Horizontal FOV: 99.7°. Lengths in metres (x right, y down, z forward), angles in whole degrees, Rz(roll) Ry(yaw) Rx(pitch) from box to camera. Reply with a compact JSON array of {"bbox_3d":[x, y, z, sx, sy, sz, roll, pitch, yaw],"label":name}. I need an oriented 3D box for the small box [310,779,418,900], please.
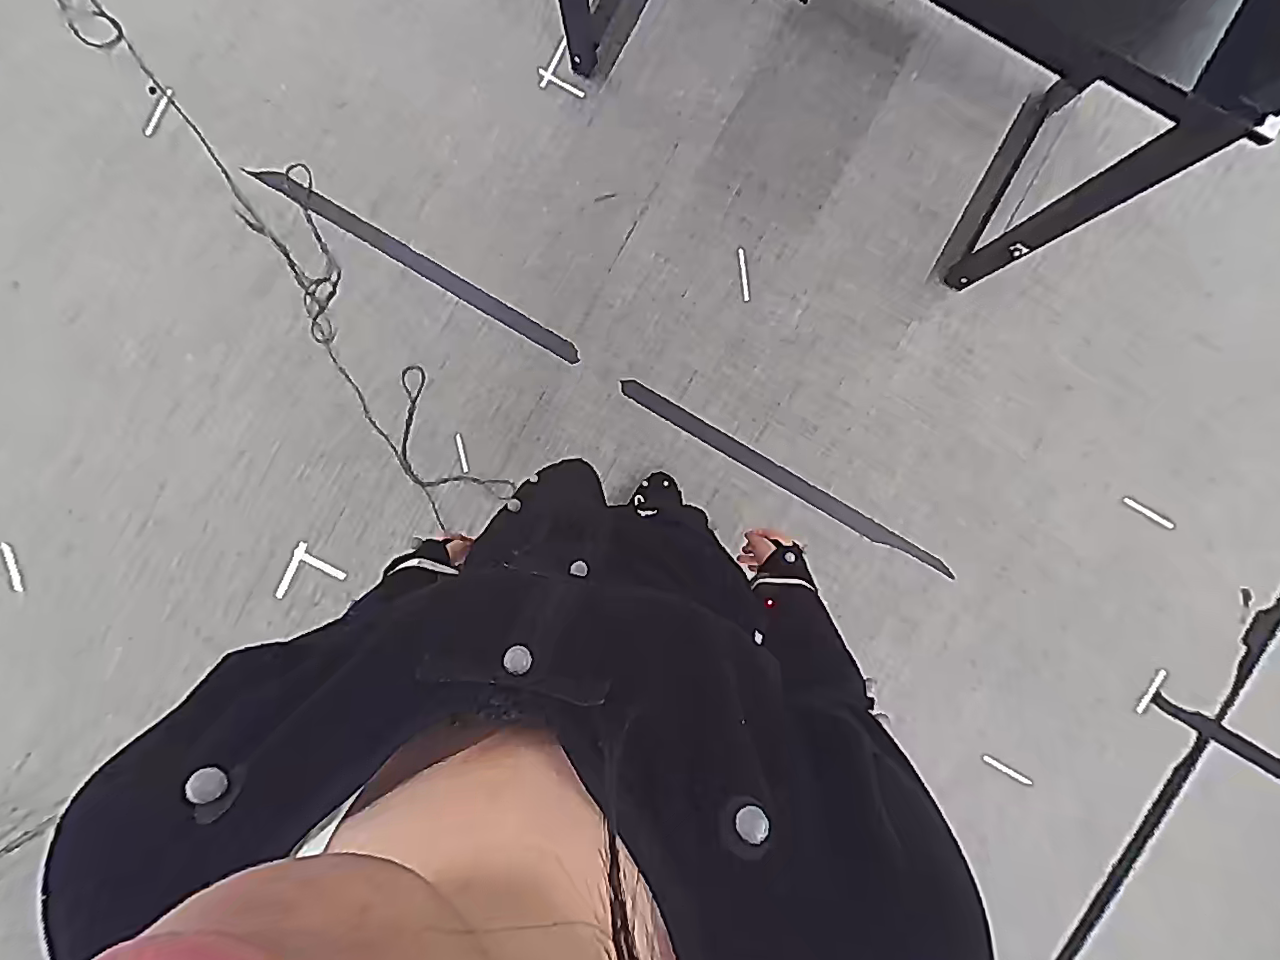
[{"bbox_3d":[-0.722,0.945,1.439,0.168,0.176,0.179,27,93,0],"label":"small box"}]
